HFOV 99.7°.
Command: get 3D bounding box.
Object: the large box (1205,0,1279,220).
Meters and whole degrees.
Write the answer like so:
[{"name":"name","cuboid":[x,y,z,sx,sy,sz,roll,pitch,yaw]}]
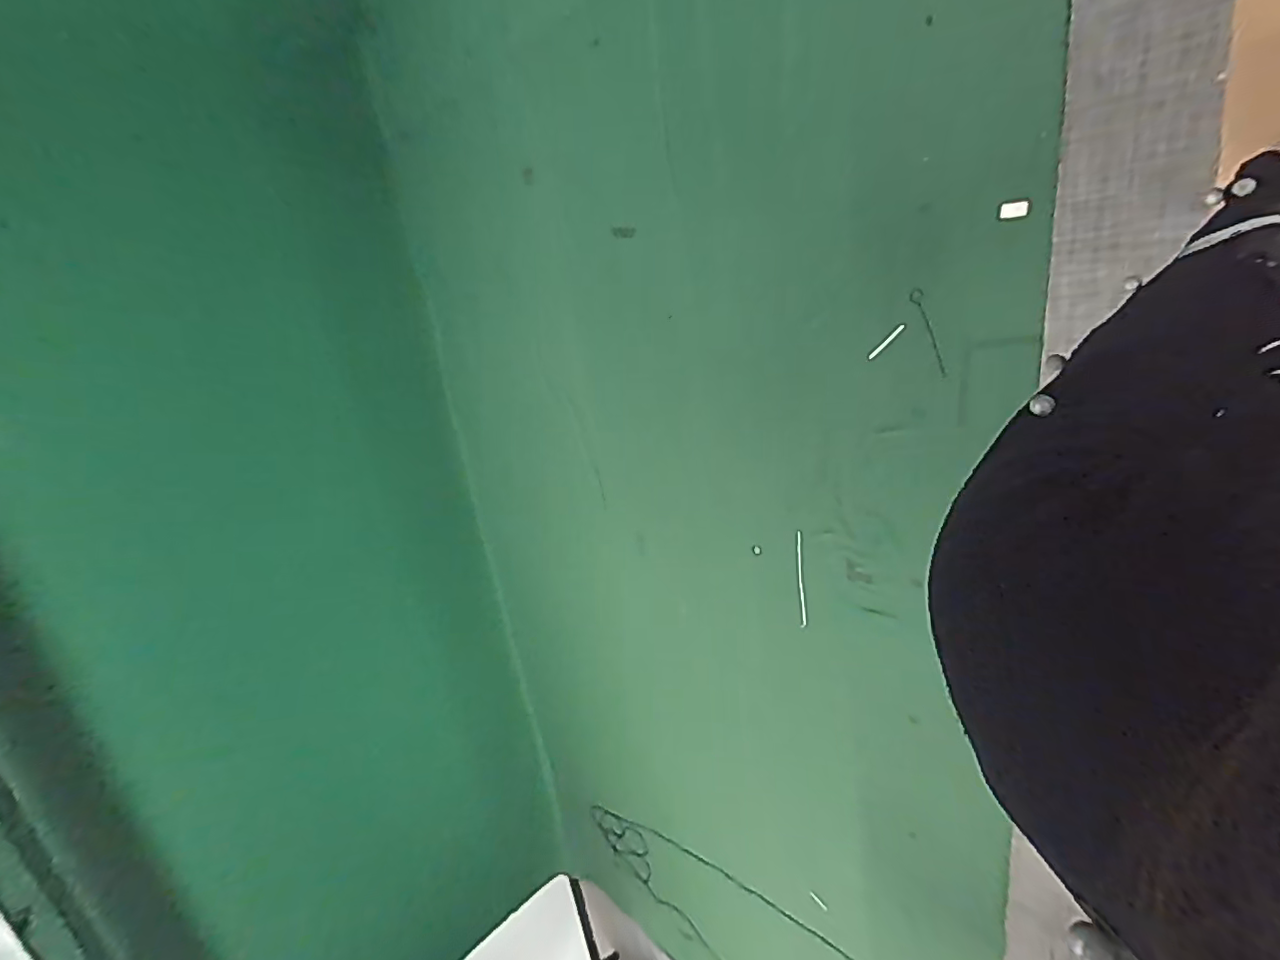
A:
[{"name":"large box","cuboid":[0.989,-0.594,0.704,0.320,0.320,0.408,8,112,46]}]
